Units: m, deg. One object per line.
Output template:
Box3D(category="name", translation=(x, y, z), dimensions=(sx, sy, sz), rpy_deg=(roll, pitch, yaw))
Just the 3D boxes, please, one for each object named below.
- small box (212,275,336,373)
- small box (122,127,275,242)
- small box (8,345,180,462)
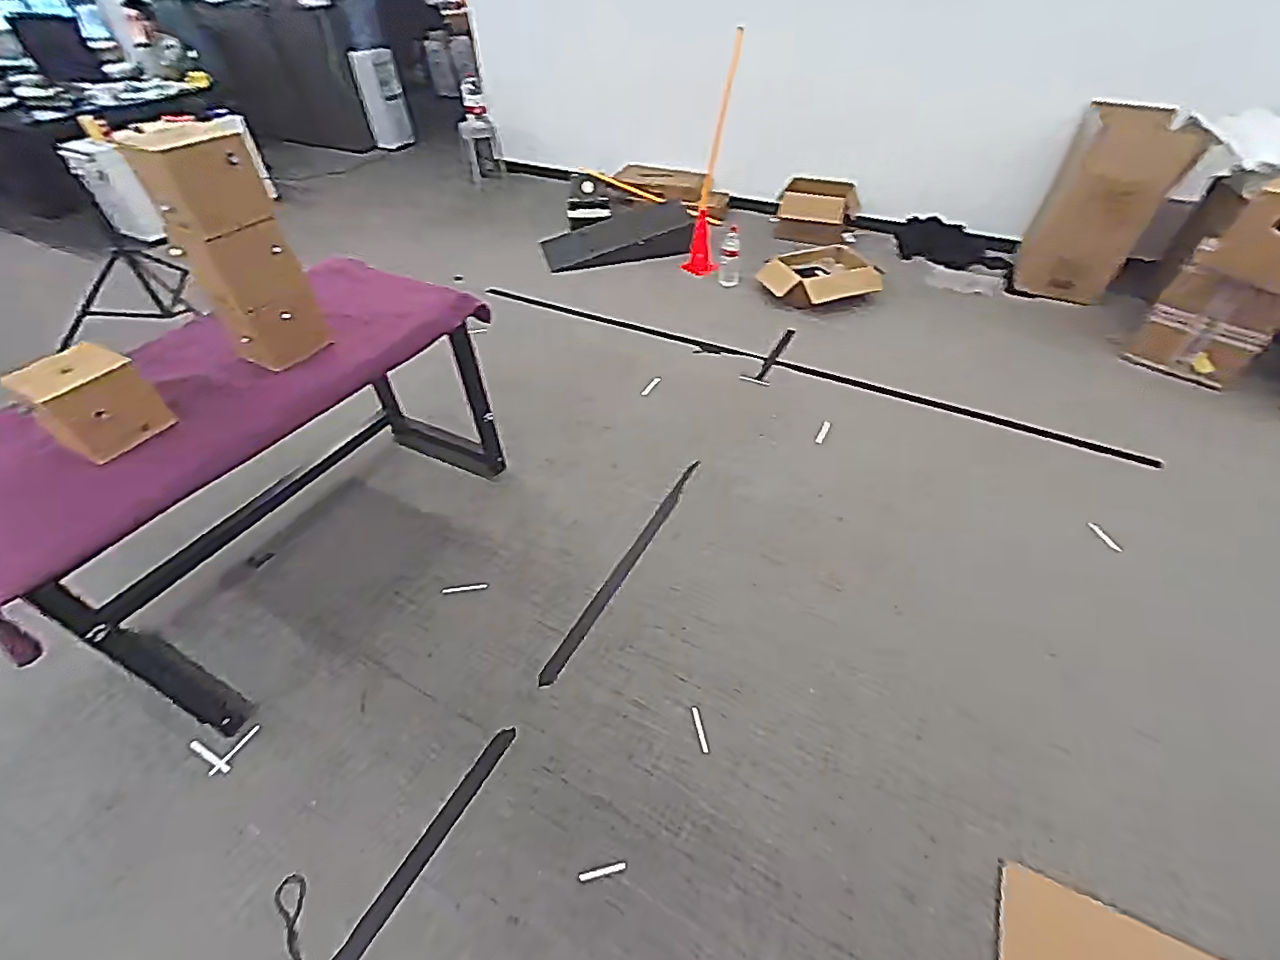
Box3D(category="small box", translation=(-0.938, -0.403, 1.401), dimensions=(0.168, 0.176, 0.179), rpy_deg=(23, 49, 21))
Box3D(category="small box", translation=(-0.937, -0.640, 1.172), dimensions=(0.168, 0.176, 0.179), rpy_deg=(22, 50, 22))
Box3D(category="small box", translation=(-1.163, -0.162, 1.168), dimensions=(0.179, 0.176, 0.168), rpy_deg=(19, 49, 21))
